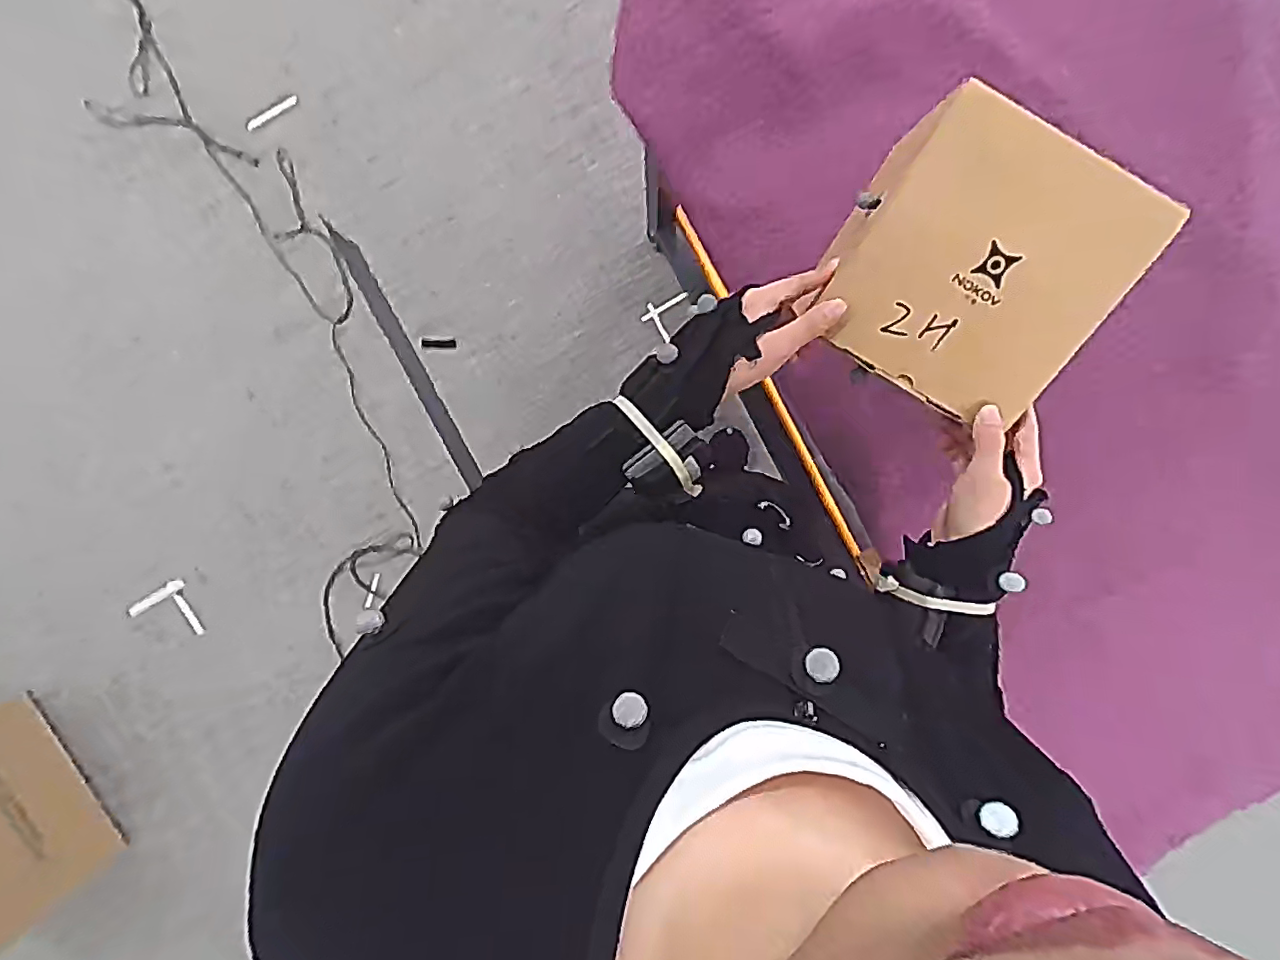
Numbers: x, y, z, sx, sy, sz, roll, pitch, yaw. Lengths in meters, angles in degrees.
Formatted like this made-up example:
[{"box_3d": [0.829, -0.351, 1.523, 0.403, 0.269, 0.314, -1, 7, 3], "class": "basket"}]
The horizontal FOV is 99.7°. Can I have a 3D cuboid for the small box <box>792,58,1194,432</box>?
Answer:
[{"box_3d": [0.237, -0.167, 0.426, 0.168, 0.176, 0.179, 30, 111, -1], "class": "small box"}]

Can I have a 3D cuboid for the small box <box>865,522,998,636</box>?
[{"box_3d": [0.617, 0.207, 1.176, 0.179, 0.176, 0.168, -27, 93, 3], "class": "small box"}]
